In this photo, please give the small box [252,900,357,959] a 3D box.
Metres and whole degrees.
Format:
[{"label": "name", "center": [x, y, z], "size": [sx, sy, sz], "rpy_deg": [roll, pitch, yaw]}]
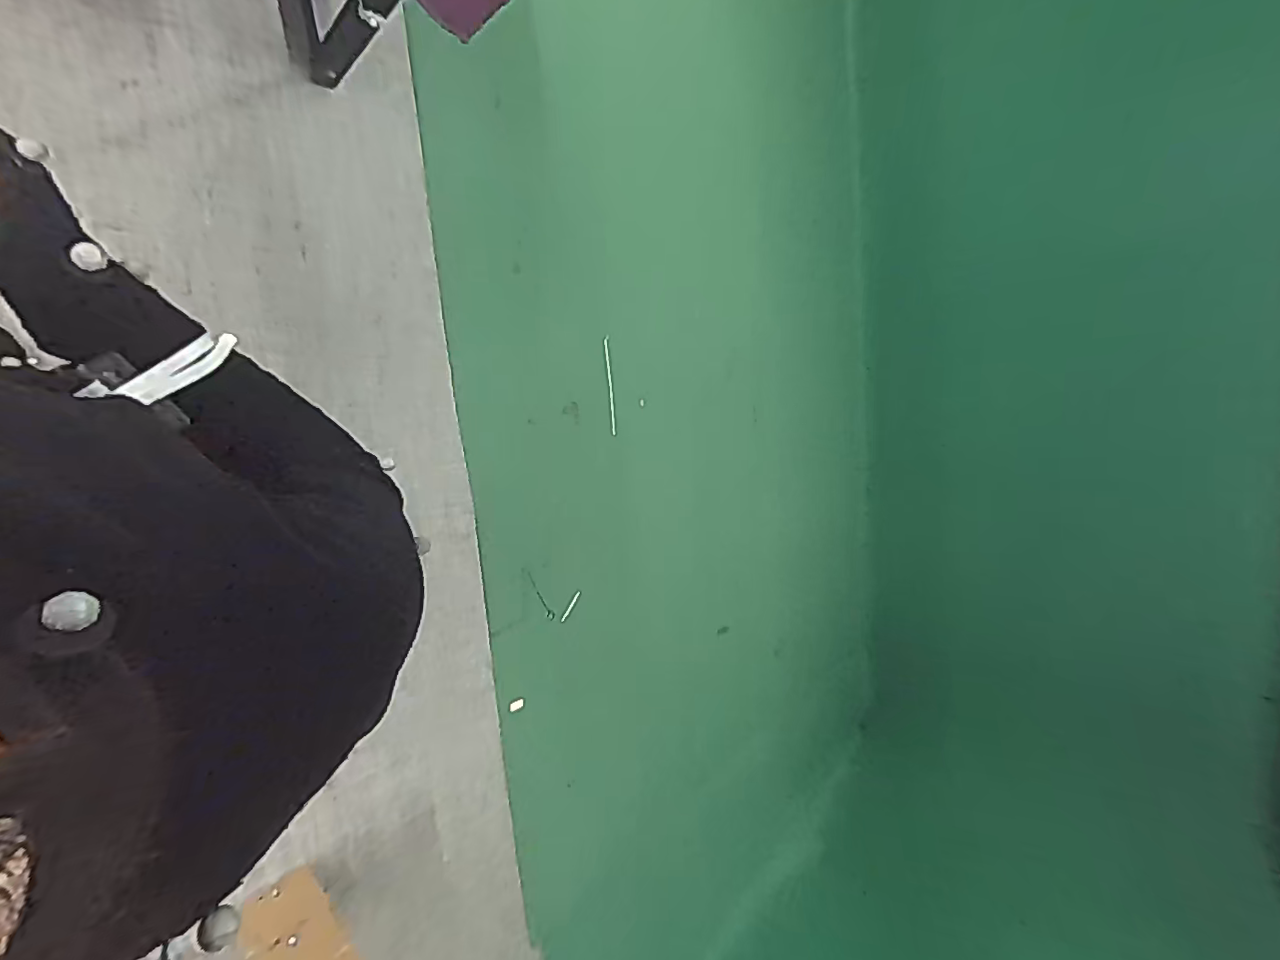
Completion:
[{"label": "small box", "center": [-0.717, 1.086, 1.182], "size": [0.168, 0.176, 0.179], "rpy_deg": [-20, 105, -45]}]
